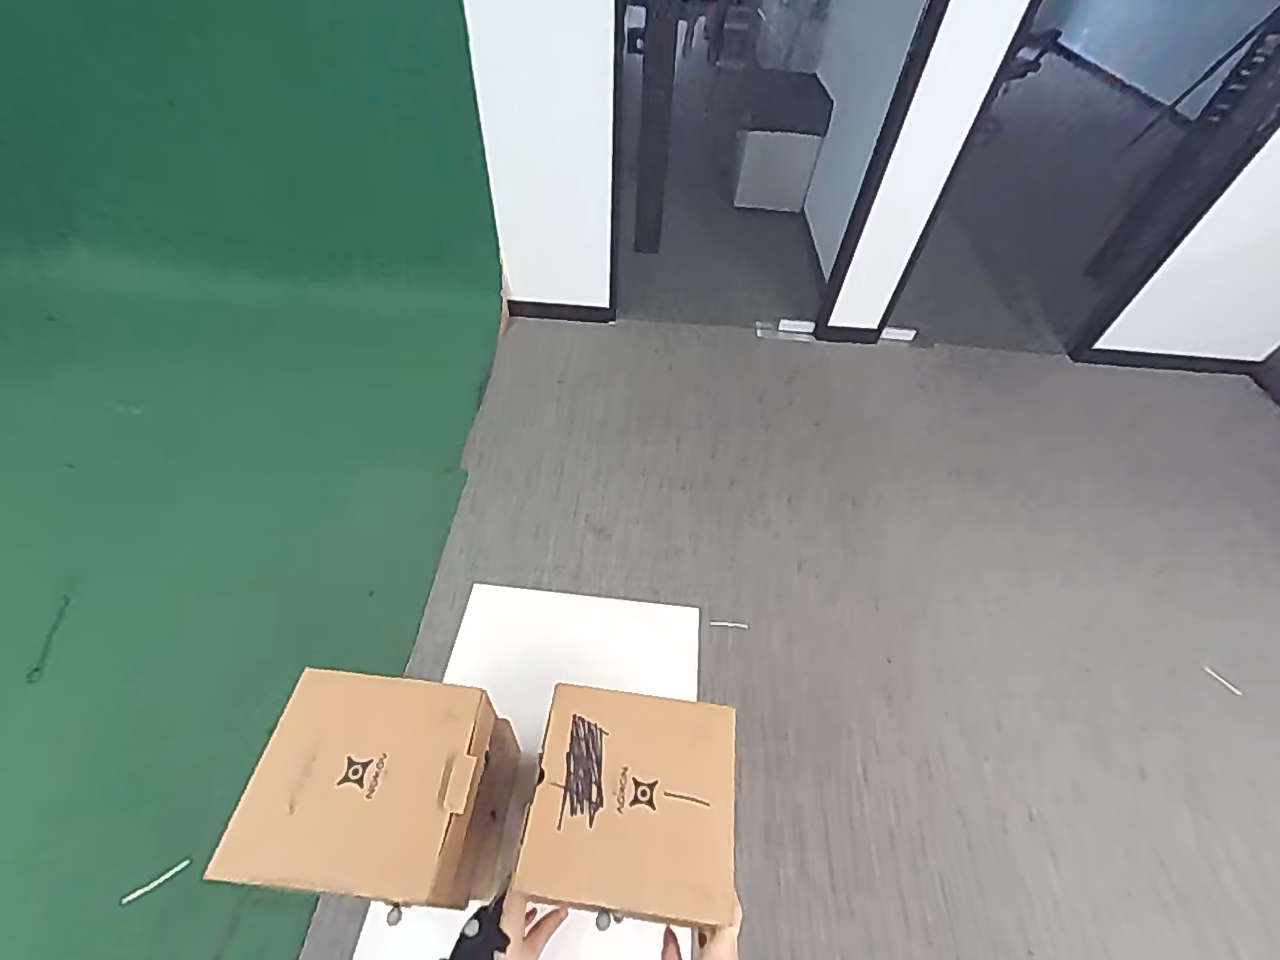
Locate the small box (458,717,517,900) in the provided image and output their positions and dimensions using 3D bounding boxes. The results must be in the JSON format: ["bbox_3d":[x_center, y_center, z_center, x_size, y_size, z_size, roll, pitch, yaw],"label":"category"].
[{"bbox_3d":[-0.253,0.394,0.660,0.168,0.176,0.179,8,50,-1],"label":"small box"}]

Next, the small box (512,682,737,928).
[{"bbox_3d":[-0.008,0.319,0.528,0.179,0.176,0.168,8,50,3],"label":"small box"}]

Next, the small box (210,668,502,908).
[{"bbox_3d":[-0.243,0.303,0.525,0.179,0.176,0.168,6,49,0],"label":"small box"}]
